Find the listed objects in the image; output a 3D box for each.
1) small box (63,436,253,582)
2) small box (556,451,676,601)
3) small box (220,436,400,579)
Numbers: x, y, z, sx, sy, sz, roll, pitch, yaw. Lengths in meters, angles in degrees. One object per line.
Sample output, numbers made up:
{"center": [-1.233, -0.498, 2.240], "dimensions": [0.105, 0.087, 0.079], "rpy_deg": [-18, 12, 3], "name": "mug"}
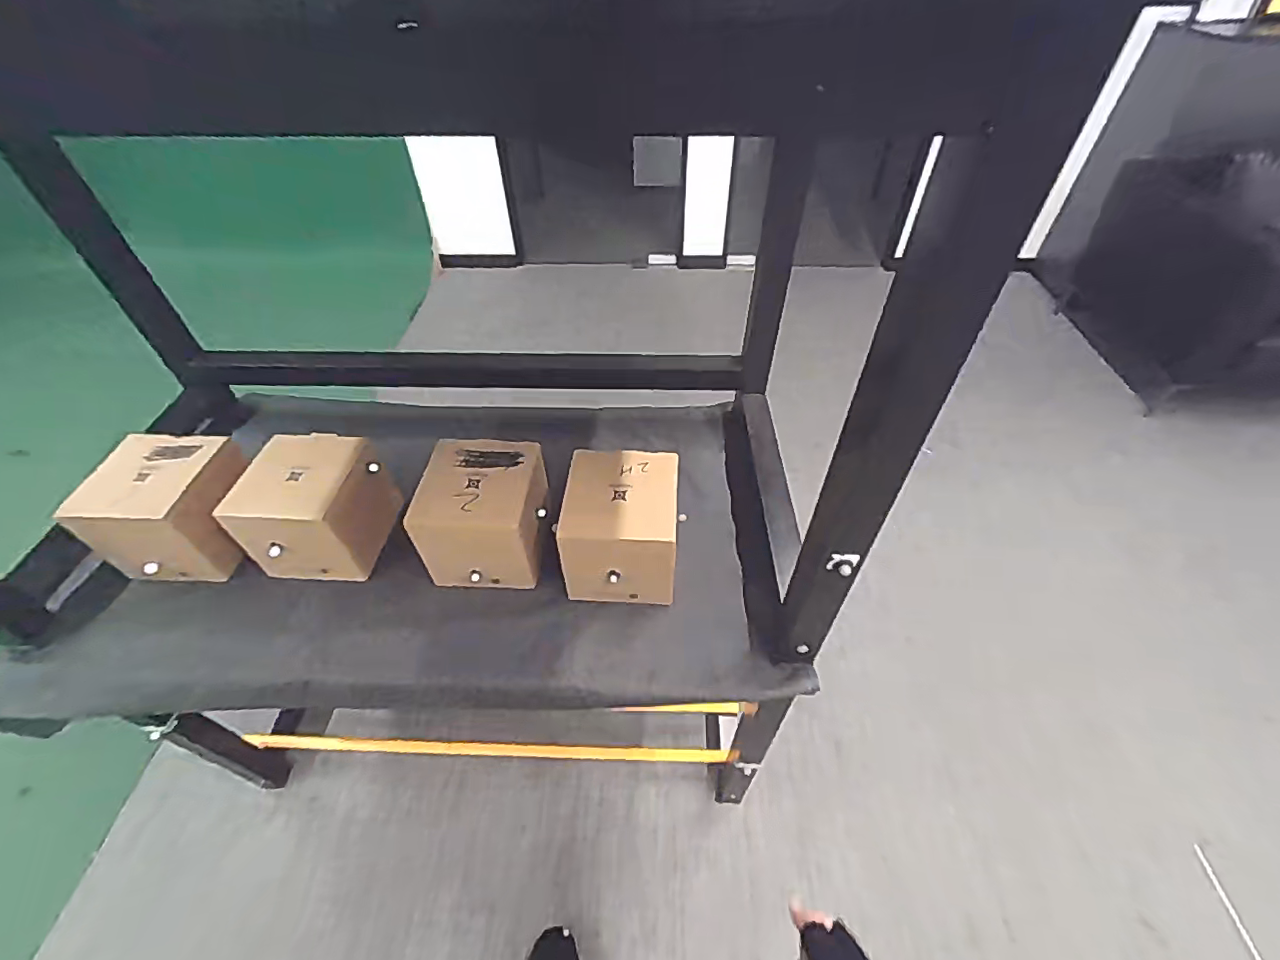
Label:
{"center": [-0.751, 0.047, 0.893], "dimensions": [0.168, 0.176, 0.179], "rpy_deg": [1, 47, 1], "name": "small box"}
{"center": [-0.029, 0.076, 0.859], "dimensions": [0.168, 0.176, 0.179], "rpy_deg": [3, 46, 3], "name": "small box"}
{"center": [-0.524, 0.048, 0.894], "dimensions": [0.168, 0.176, 0.179], "rpy_deg": [2, 46, 2], "name": "small box"}
